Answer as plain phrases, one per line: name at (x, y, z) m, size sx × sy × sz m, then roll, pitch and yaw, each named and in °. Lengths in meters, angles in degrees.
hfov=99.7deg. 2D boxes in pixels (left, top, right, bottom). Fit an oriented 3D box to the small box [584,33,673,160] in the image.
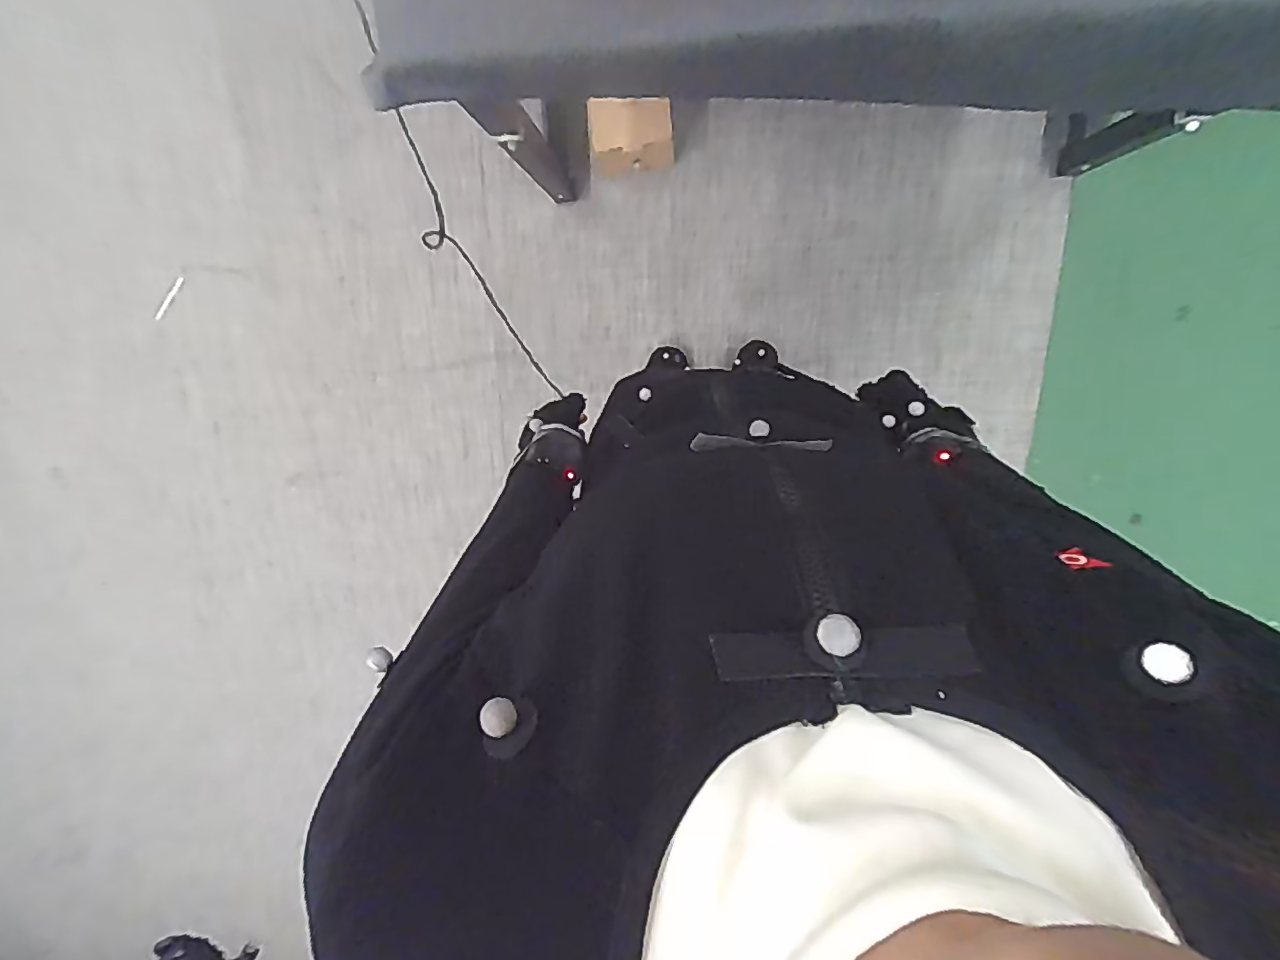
small box at (-0.018, -0.810, 1.164) m, size 0.168 × 0.176 × 0.179 m, roll -5°, pitch 105°, yaw 5°
